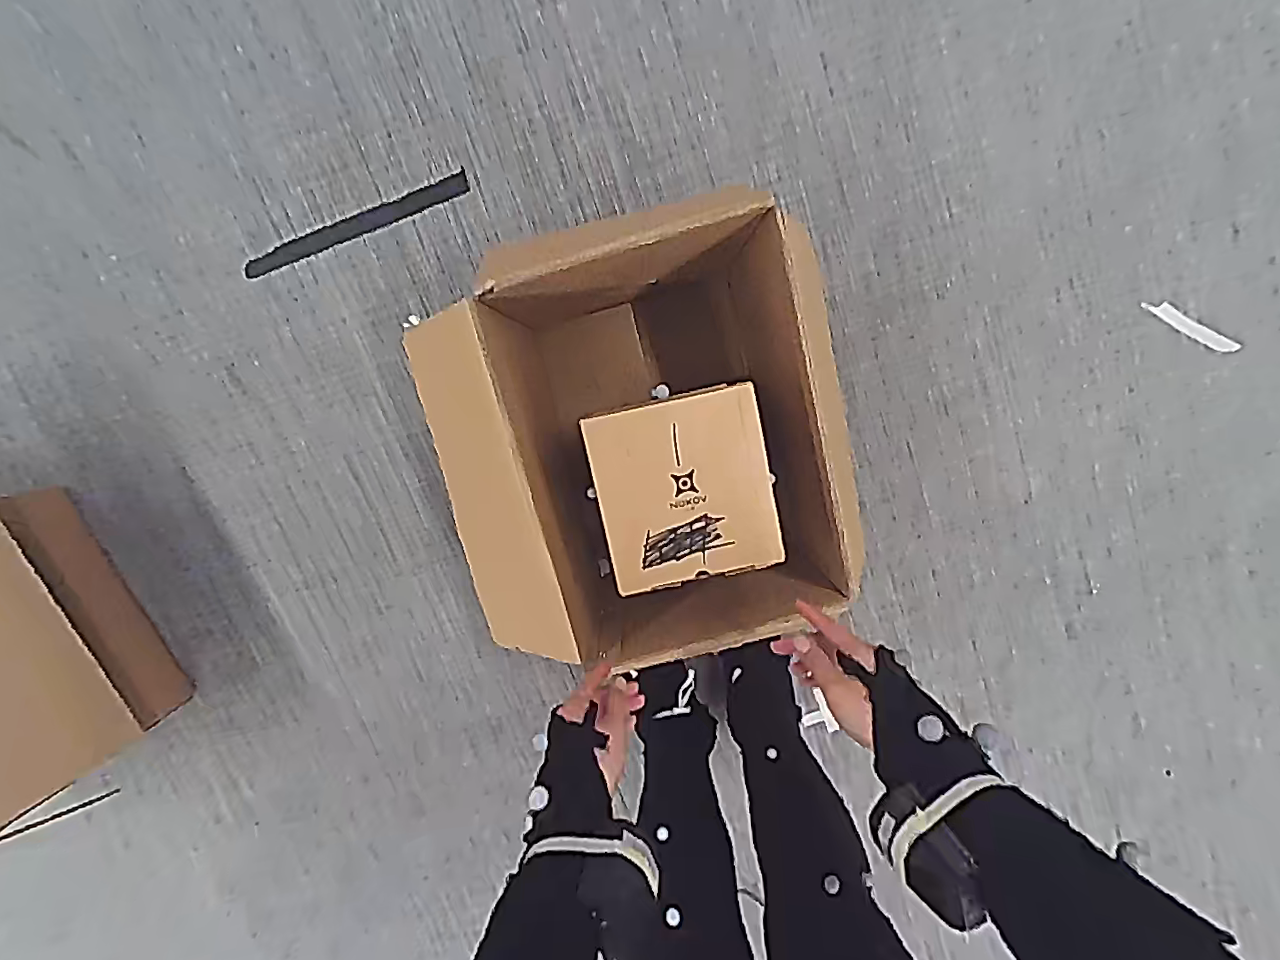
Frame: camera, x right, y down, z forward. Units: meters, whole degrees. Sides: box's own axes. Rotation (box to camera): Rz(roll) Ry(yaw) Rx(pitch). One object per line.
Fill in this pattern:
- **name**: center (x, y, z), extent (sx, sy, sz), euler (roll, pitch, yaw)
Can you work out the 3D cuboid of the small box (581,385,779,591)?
- **small box**: center (0.038, -0.001, 0.593), extent (0.168, 0.176, 0.179), euler (-12, 97, 0)
